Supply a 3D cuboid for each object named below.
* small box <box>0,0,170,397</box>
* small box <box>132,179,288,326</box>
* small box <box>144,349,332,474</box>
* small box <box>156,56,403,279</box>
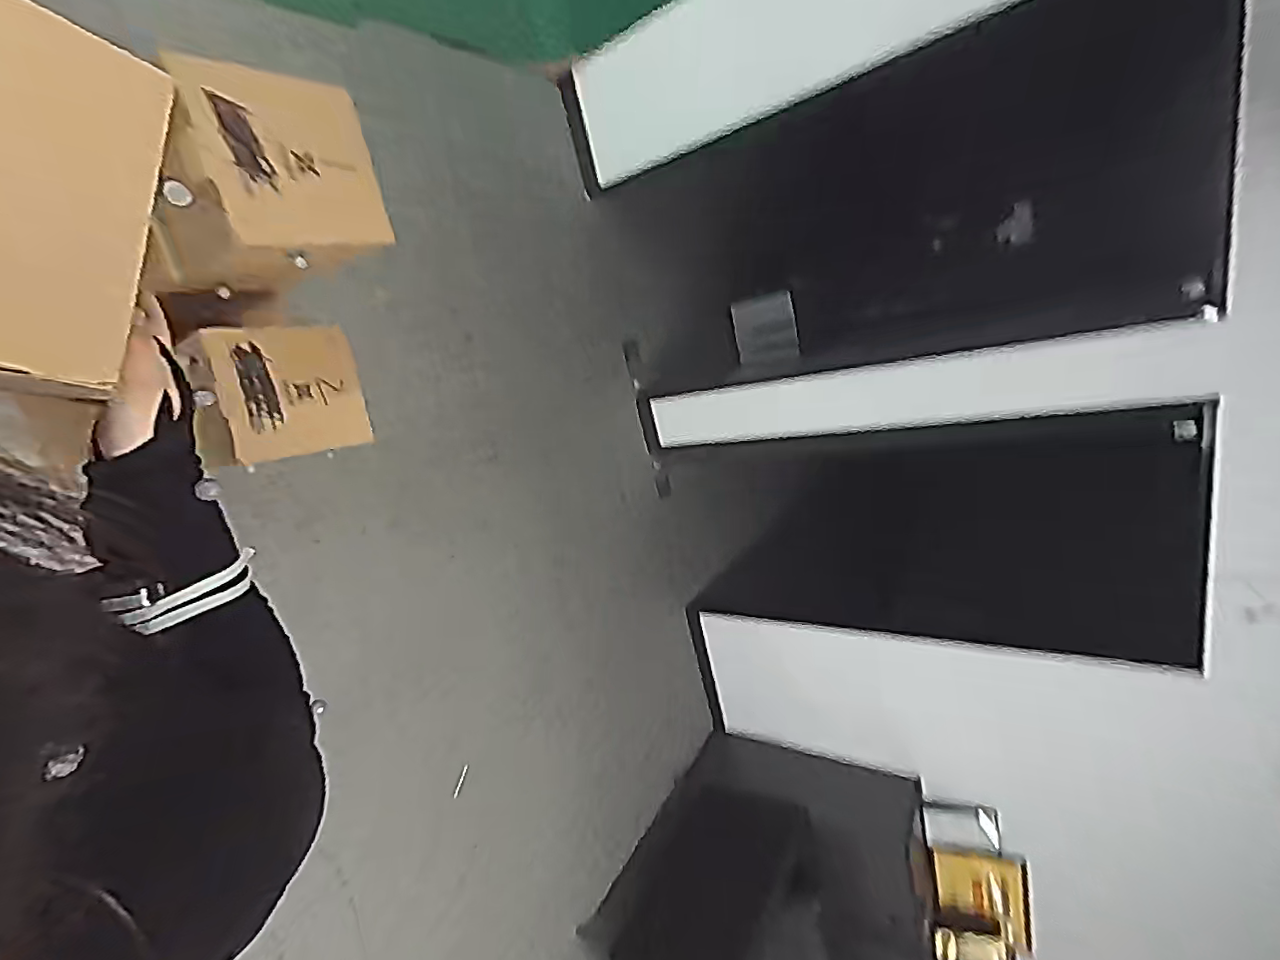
[{"bbox_3d":[-0.372,-0.147,0.277,0.168,0.176,0.179,9,87,-47],"label":"small box"},{"bbox_3d":[-0.681,-0.334,0.813,0.179,0.176,0.168,-30,114,-50],"label":"small box"},{"bbox_3d":[-0.635,-0.109,0.860,0.179,0.176,0.168,-23,105,-52],"label":"small box"},{"bbox_3d":[-0.417,-0.335,0.617,0.179,0.176,0.168,-34,117,-50],"label":"small box"}]
